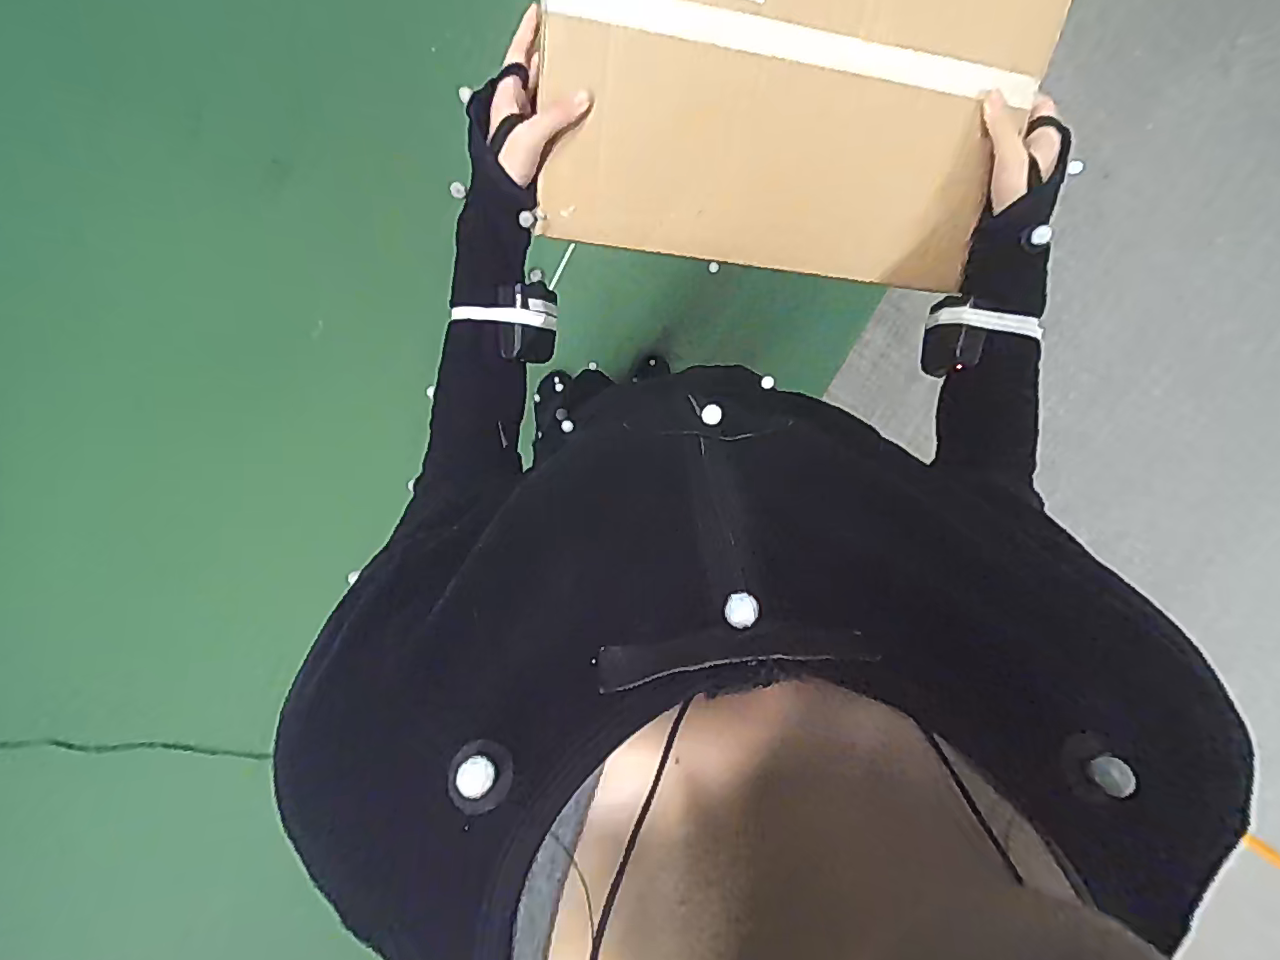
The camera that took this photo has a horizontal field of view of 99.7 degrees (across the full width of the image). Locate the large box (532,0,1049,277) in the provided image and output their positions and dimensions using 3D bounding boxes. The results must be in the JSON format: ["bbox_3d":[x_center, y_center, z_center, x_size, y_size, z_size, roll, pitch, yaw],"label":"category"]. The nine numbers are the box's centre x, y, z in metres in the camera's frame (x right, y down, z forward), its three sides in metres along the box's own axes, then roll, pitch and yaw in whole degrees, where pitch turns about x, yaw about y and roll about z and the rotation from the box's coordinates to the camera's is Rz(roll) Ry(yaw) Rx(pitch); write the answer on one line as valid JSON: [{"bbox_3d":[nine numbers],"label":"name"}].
[{"bbox_3d":[0.108,-0.414,0.557,0.408,0.320,0.320,5,116,-10],"label":"large box"}]
